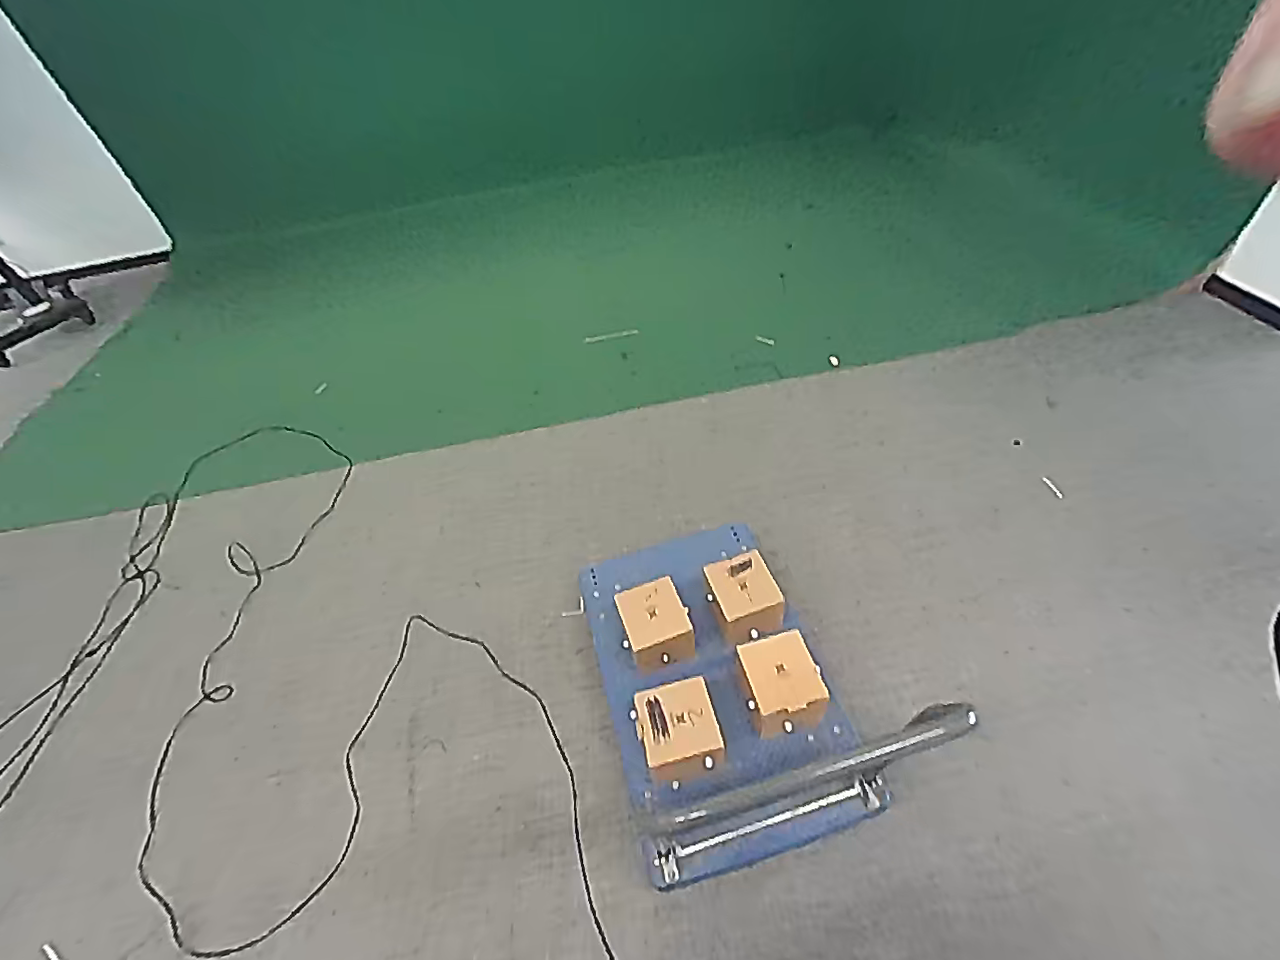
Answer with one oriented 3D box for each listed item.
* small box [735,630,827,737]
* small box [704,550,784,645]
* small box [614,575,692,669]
[{"bbox_3d":[0.341,0.507,1.346,0.168,0.176,0.179,-14,47,-4],"label":"small box"},{"bbox_3d":[0.283,0.329,1.510,0.168,0.176,0.179,-17,49,-6],"label":"small box"},{"bbox_3d":[0.038,0.397,1.485,0.168,0.176,0.179,-17,48,-8],"label":"small box"}]
